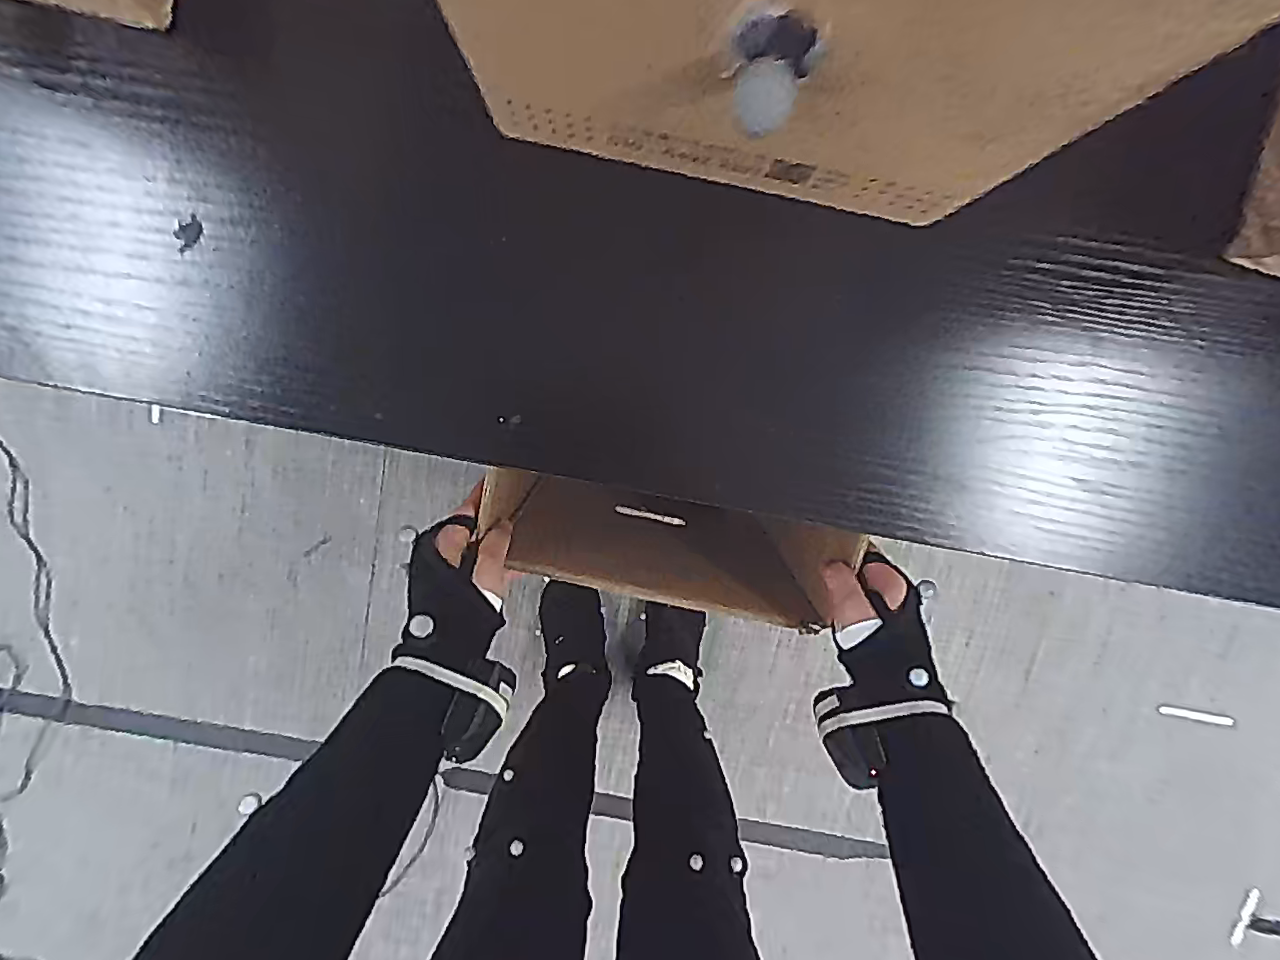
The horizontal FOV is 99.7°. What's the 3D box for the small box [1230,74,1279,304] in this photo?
[{"bbox_3d":[0.322,-0.134,0.129,0.168,0.176,0.179,11,98,-2],"label":"small box"}]
